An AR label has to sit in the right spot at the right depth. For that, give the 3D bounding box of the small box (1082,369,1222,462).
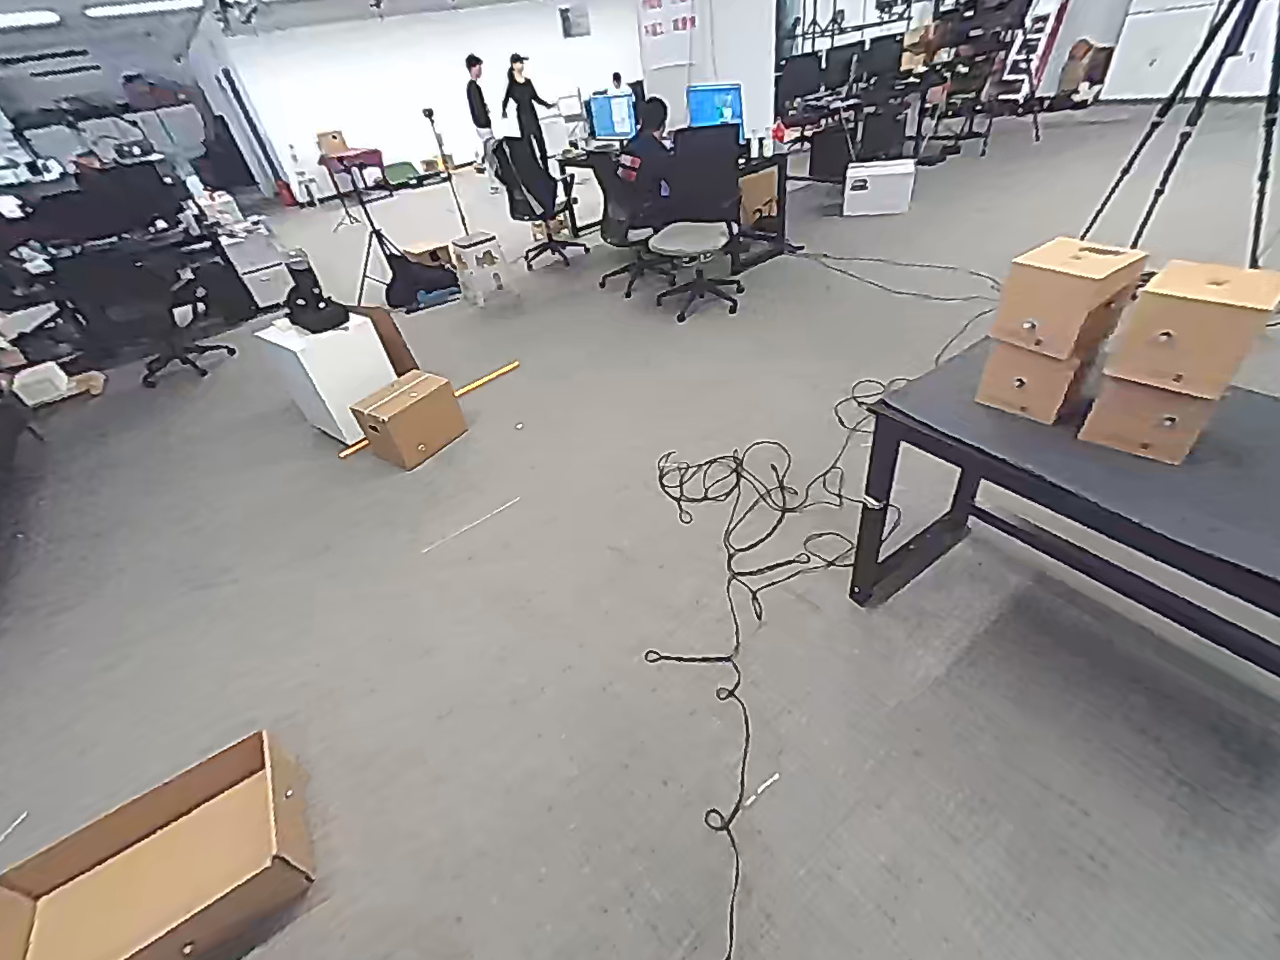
[{"bbox_3d":[1.030,-0.161,1.083,0.179,0.176,0.168,-36,46,-29],"label":"small box"}]

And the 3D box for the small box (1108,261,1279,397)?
[{"bbox_3d":[0.987,-0.271,0.969,0.179,0.176,0.168,-34,45,-28],"label":"small box"}]
